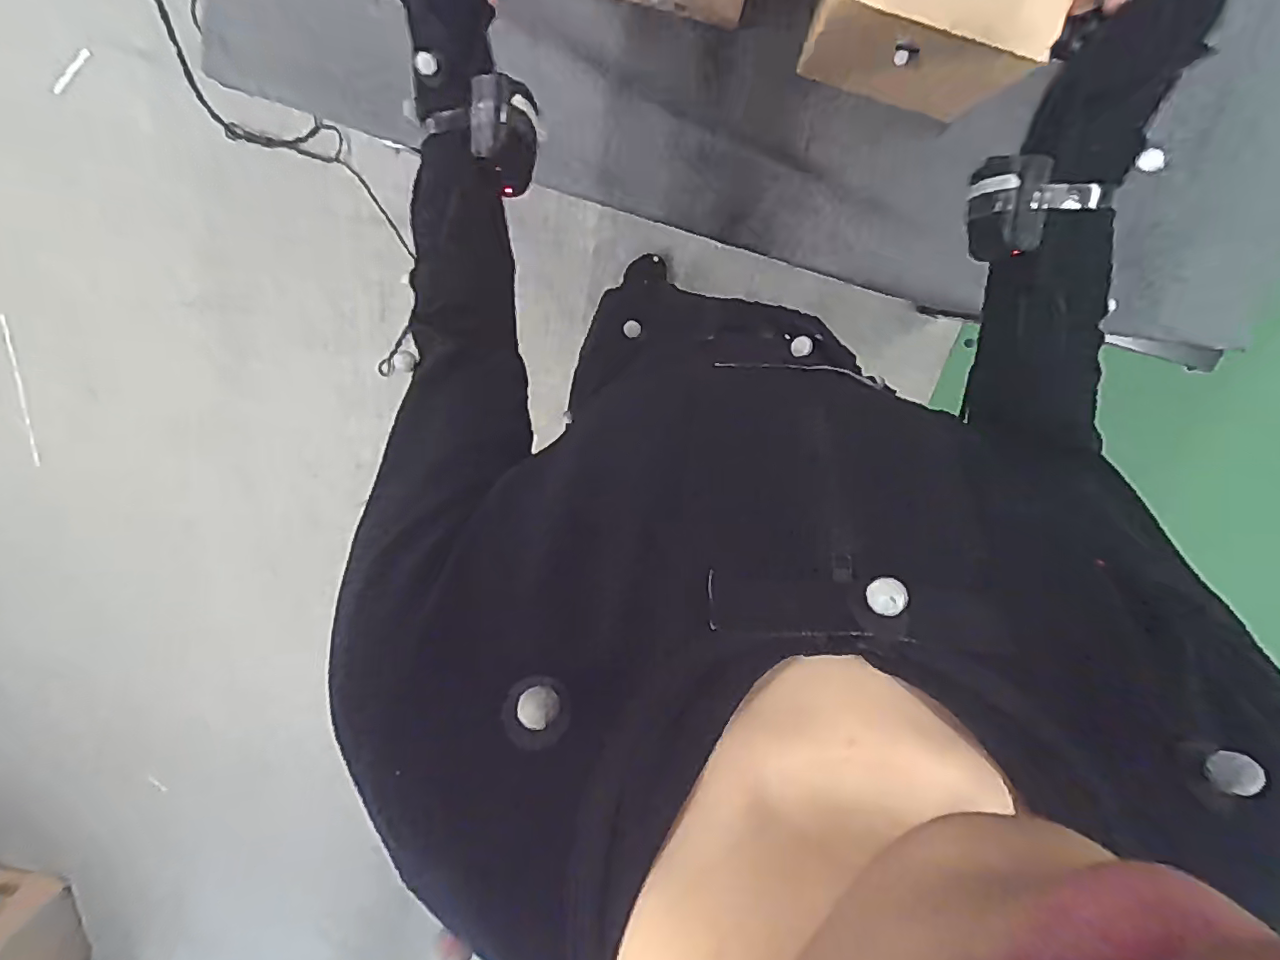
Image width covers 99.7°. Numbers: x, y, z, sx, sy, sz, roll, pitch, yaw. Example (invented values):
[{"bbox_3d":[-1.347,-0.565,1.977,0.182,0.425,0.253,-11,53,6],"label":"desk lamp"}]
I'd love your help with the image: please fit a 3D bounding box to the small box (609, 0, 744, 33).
[{"bbox_3d":[0.037,-0.539,0.461,0.168,0.176,0.179,16,110,0],"label":"small box"}]
